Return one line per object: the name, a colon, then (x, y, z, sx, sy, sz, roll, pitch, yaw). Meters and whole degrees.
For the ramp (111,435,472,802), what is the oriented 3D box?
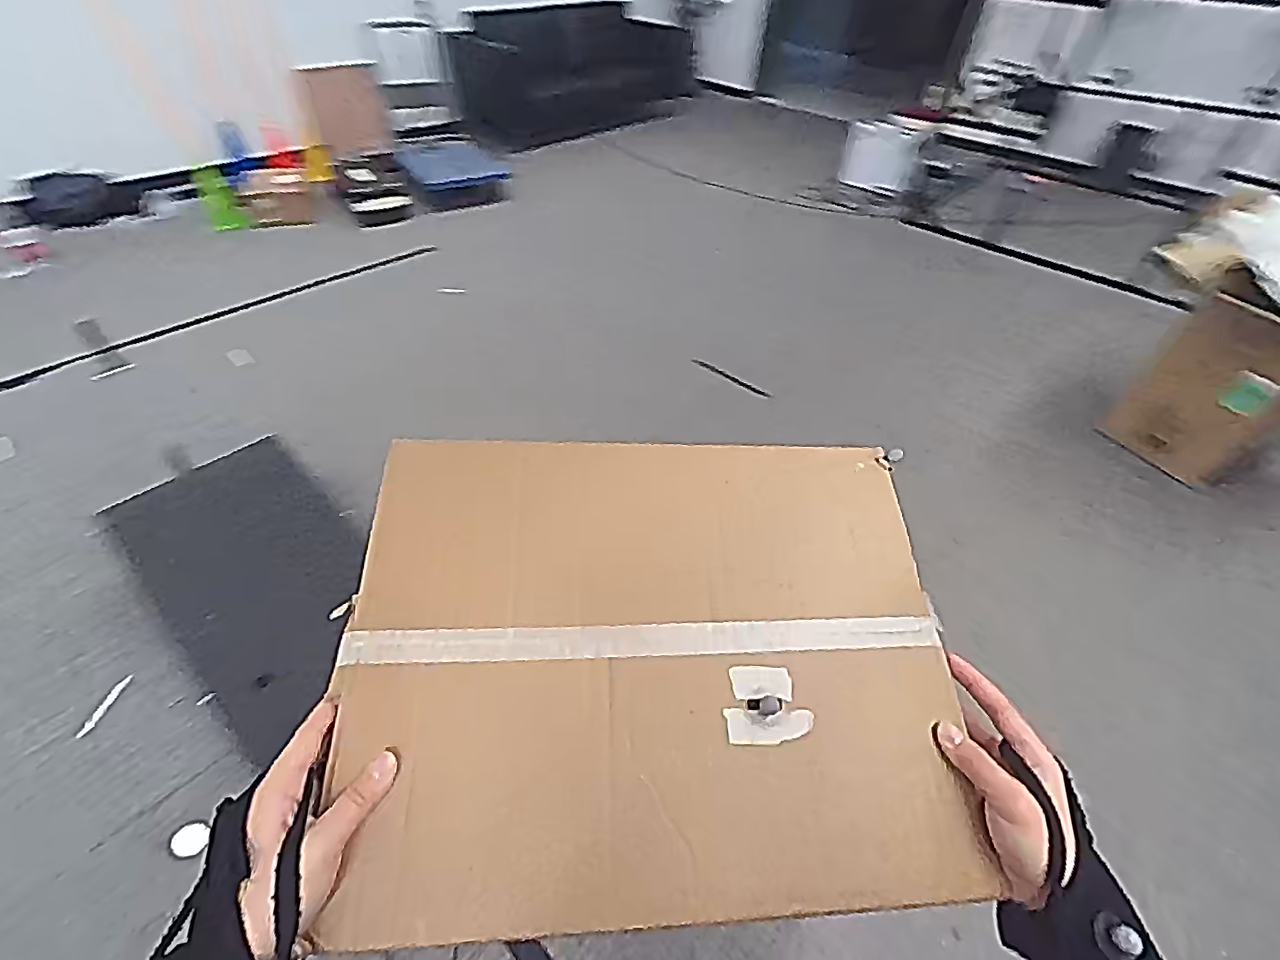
ramp: (-0.958, 0.288, 1.483, 0.991, 0.206, 0.509, 34, 52, 25)
